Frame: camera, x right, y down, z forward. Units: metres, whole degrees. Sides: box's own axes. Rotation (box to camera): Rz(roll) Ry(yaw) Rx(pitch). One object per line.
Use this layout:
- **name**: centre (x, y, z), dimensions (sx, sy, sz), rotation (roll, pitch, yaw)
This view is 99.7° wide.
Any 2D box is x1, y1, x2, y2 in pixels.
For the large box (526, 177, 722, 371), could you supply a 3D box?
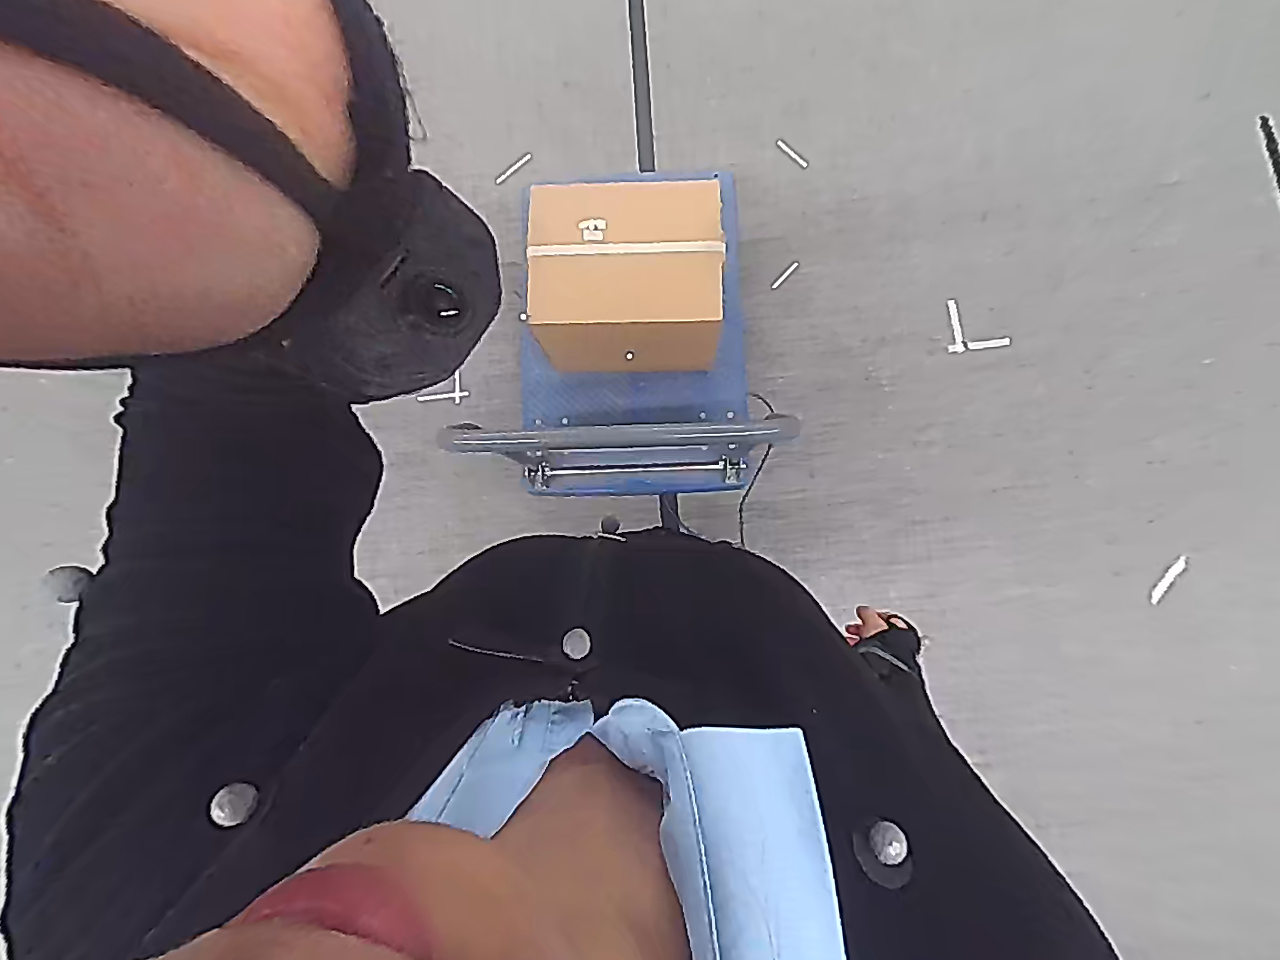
- **large box**: centre (-0.026, -0.452, 1.255), dimensions (0.408, 0.320, 0.320), rotation (-1, 81, 4)
